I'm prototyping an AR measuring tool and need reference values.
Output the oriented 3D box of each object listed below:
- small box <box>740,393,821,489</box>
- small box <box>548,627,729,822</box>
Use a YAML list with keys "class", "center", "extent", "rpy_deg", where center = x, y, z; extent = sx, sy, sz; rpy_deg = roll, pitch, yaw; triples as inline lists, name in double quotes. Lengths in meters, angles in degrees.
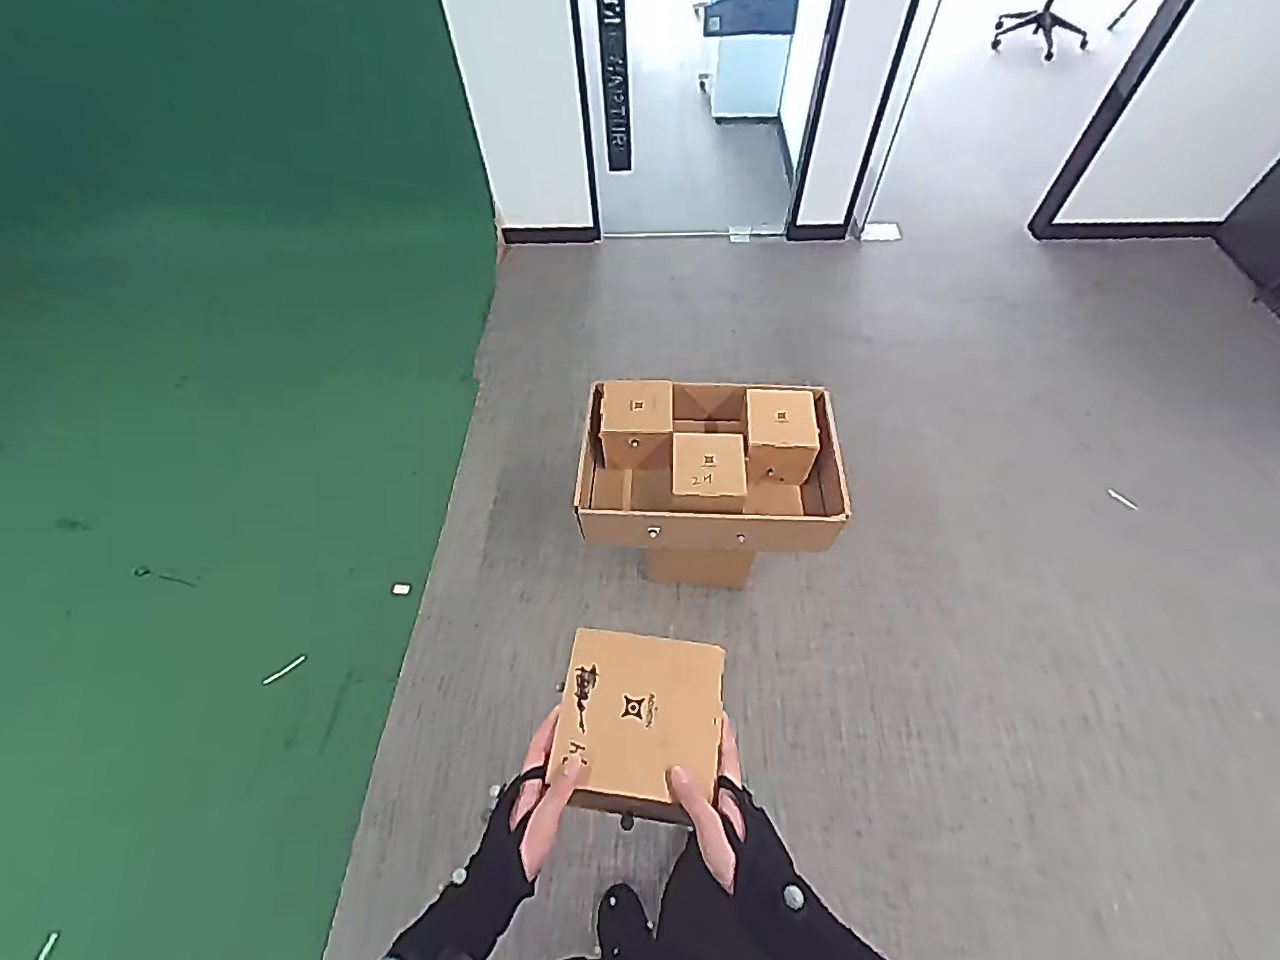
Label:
- class: "small box"
  center: [0.346, -0.097, 1.369]
  extent: [0.168, 0.176, 0.179]
  rpy_deg: [3, 57, 3]
- class: "small box"
  center: [0.001, 0.295, 0.642]
  extent: [0.179, 0.176, 0.168]
  rpy_deg: [8, 53, 3]
